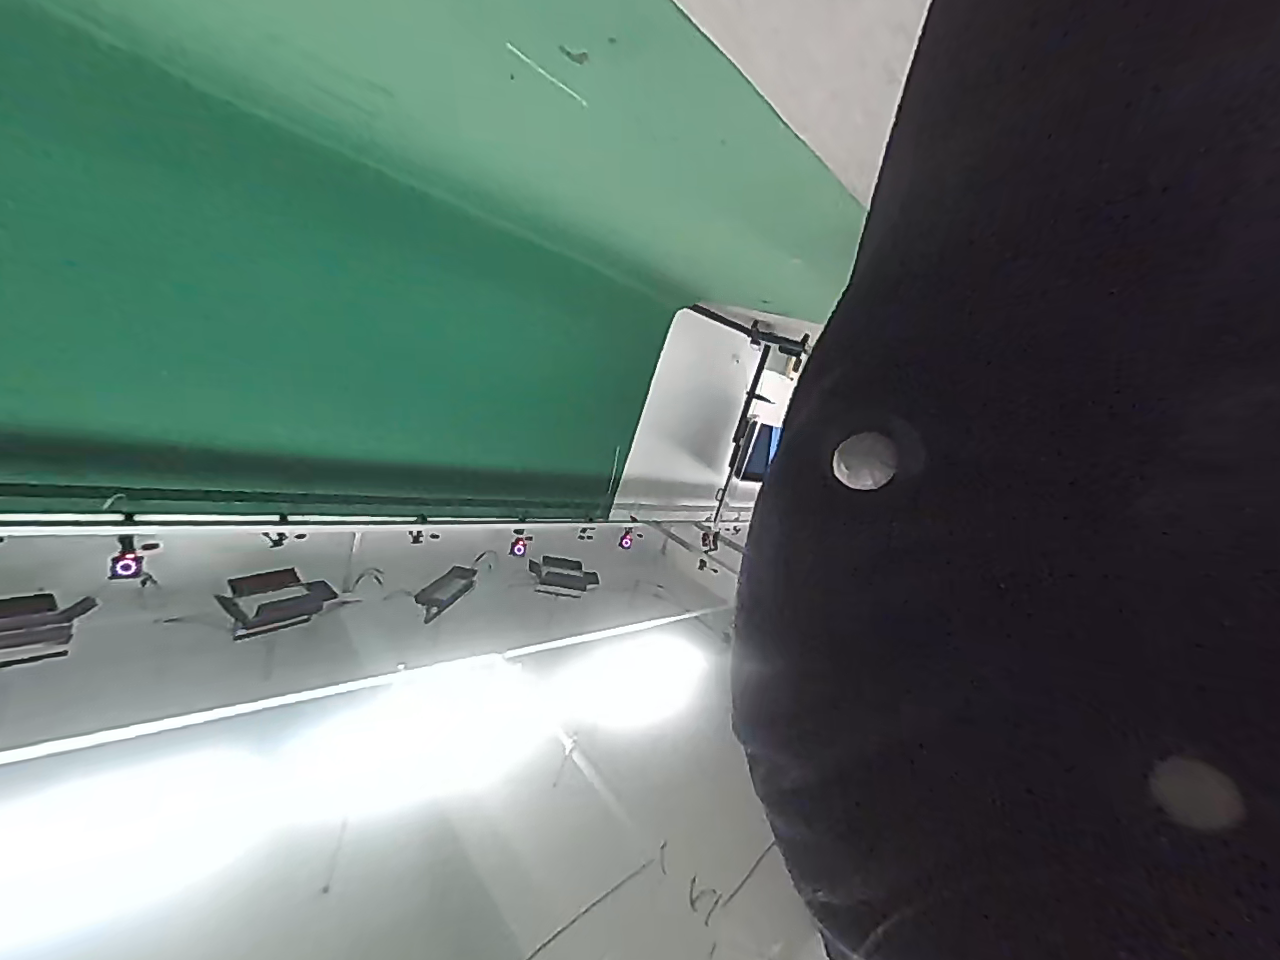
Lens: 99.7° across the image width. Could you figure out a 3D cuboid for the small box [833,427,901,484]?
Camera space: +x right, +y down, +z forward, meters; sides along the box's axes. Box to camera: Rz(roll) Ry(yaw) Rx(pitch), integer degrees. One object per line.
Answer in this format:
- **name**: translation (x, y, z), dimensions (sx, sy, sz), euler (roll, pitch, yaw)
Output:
- **small box**: translation (0.874, -0.094, 2.064), dimensions (0.179, 0.176, 0.168), euler (28, -165, 35)
